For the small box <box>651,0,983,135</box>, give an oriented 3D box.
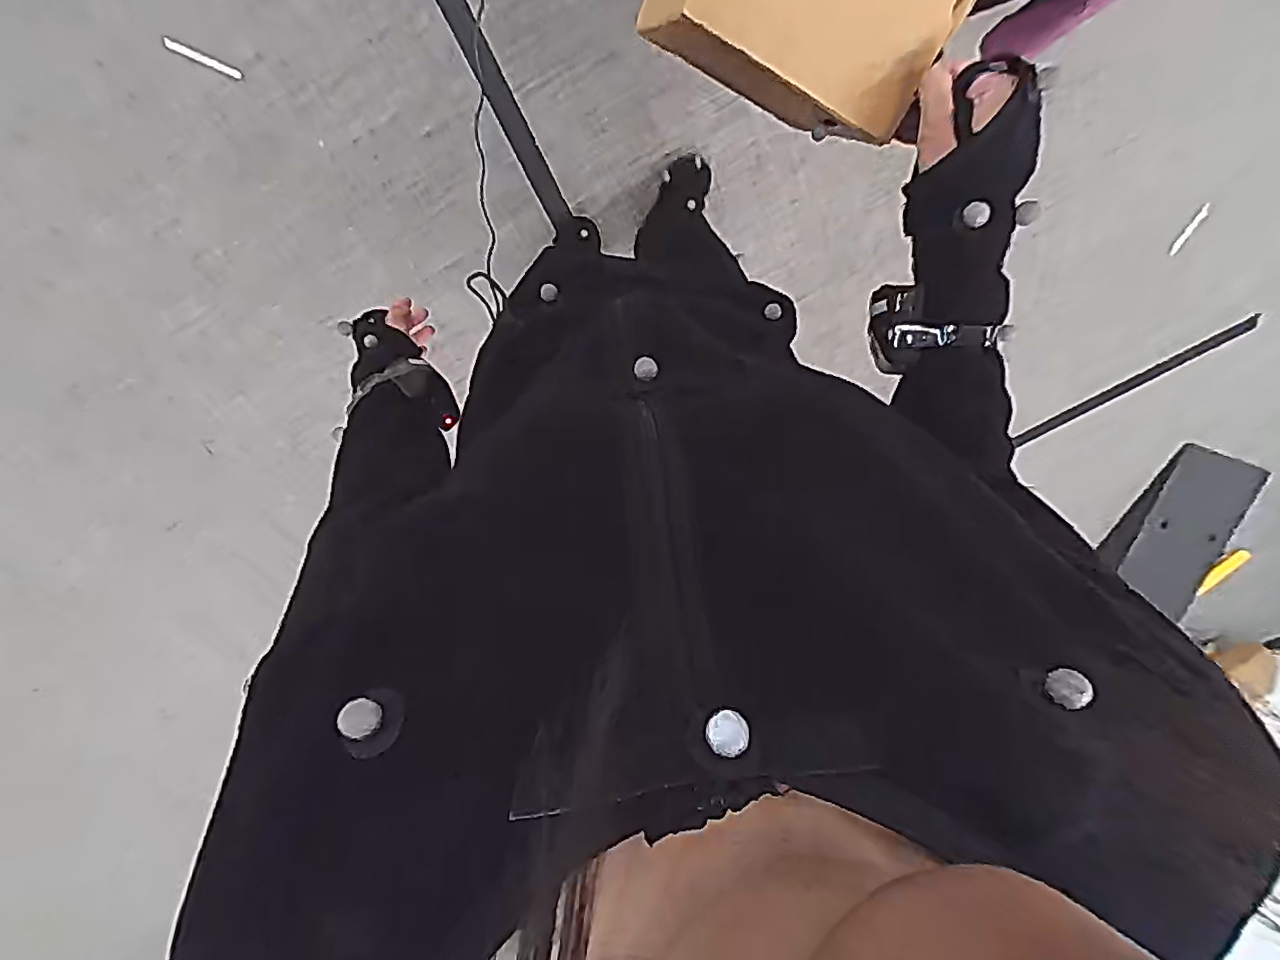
[{"bbox_3d":[0.124,-0.369,0.373,0.179,0.176,0.168,14,122,-22],"label":"small box"}]
